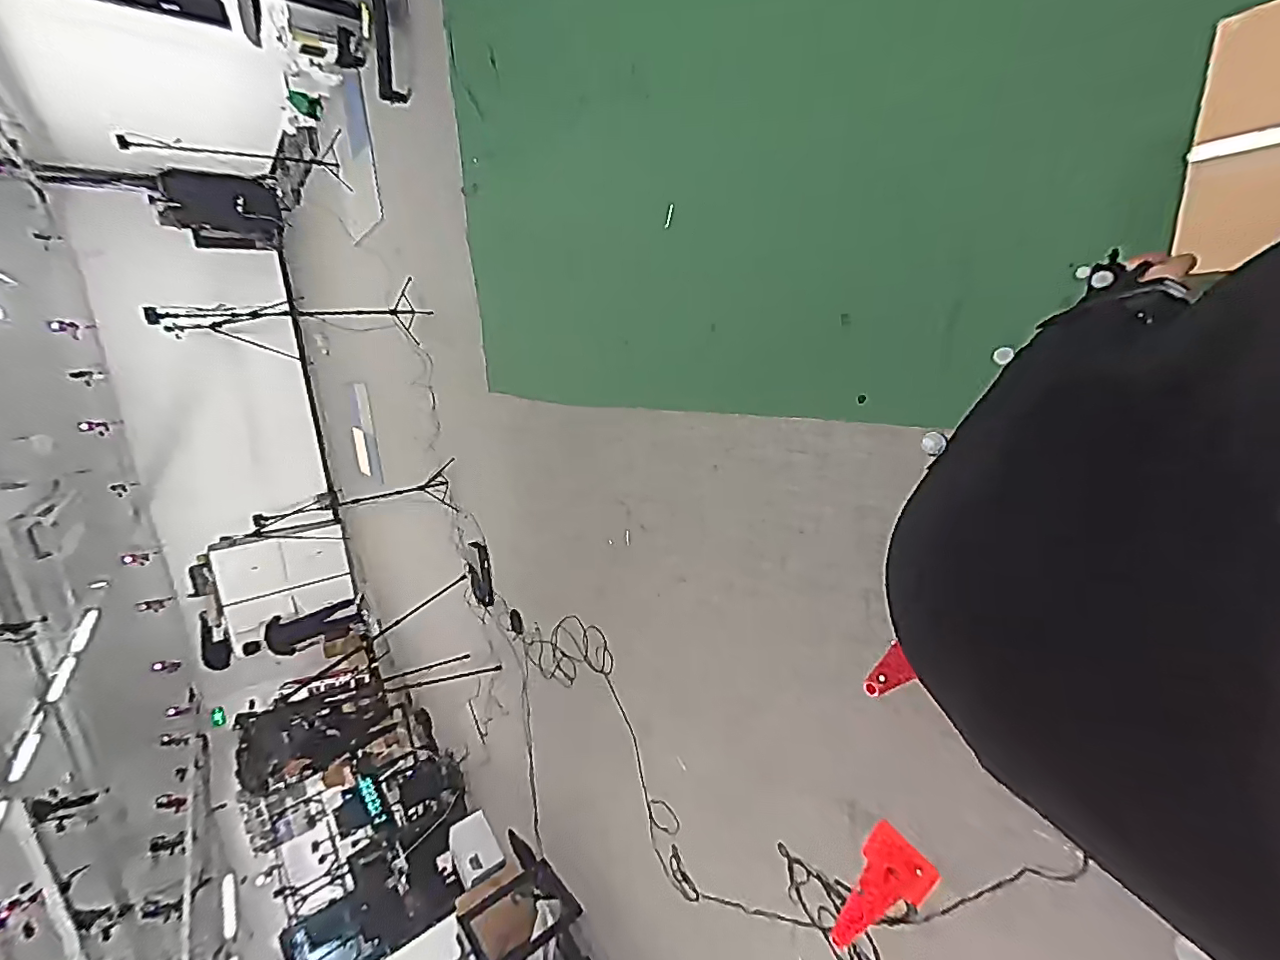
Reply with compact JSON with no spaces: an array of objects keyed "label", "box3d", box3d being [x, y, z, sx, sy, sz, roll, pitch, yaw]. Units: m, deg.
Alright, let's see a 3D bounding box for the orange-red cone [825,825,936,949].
[{"label":"orange-red cone","box3d":[0.656,1.225,1.572,0.199,0.360,0.198,40,130,41]}]
